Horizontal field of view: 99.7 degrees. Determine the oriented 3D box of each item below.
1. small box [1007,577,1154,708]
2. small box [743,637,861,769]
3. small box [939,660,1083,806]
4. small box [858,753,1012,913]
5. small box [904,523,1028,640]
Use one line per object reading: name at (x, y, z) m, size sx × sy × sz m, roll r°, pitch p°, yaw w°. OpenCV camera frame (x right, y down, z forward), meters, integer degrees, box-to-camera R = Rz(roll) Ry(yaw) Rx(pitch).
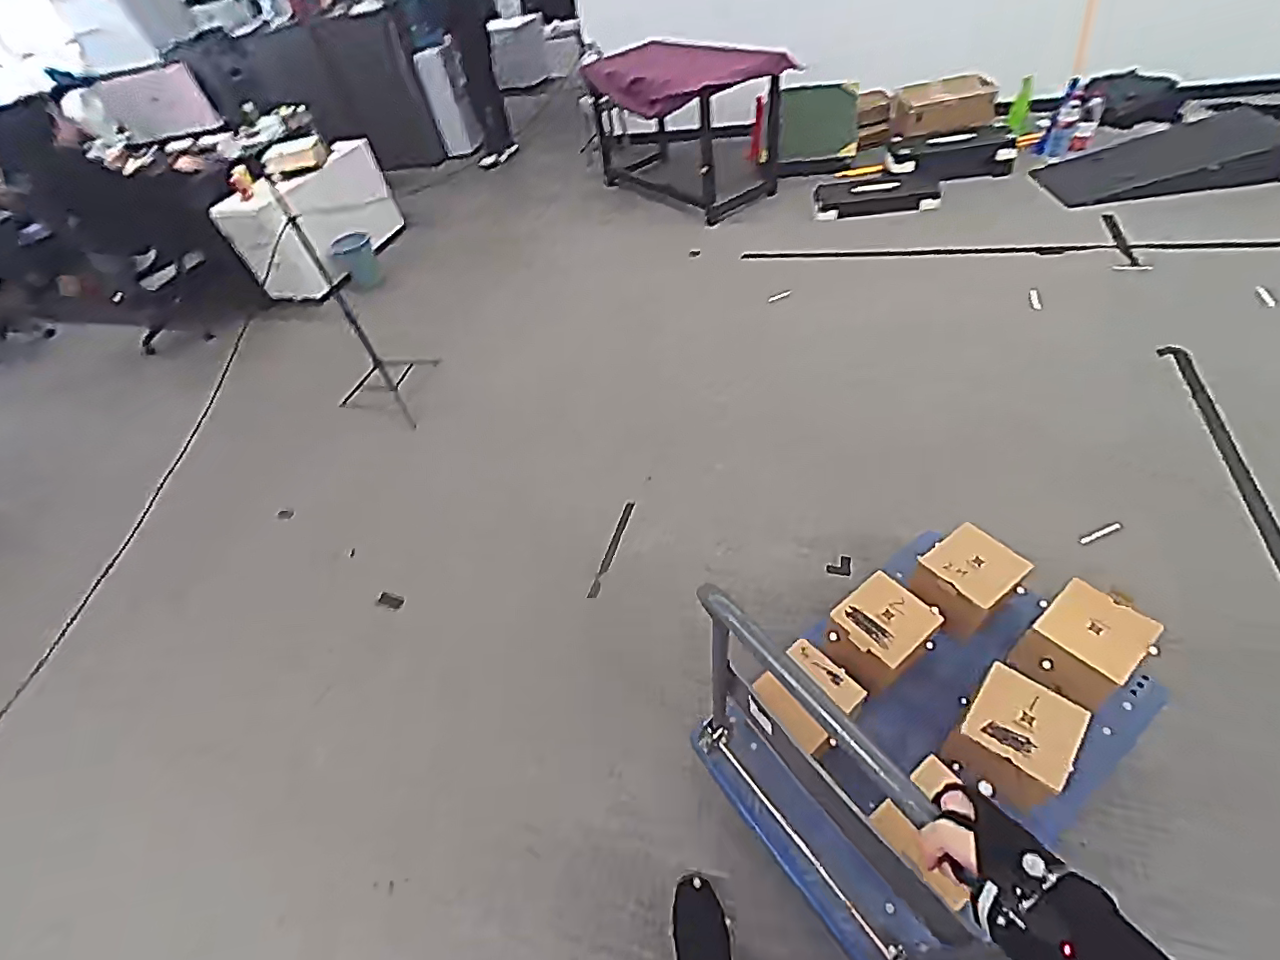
small box at (0.926, 0.351, 1.157) m, size 0.179 × 0.176 × 0.168 m, roll -35°, pitch 51°, yaw -19°
small box at (0.342, 0.481, 1.158) m, size 0.179 × 0.176 × 0.168 m, roll -36°, pitch 52°, yaw -19°
small box at (0.717, 0.501, 1.065) m, size 0.168 × 0.176 × 0.179 m, roll 30°, pitch 60°, yaw 32°
small box at (0.518, 0.642, 0.980) m, size 0.179 × 0.176 × 0.168 m, roll -32°, pitch 51°, yaw -18°
small box at (0.761, 0.242, 1.285) m, size 0.179 × 0.176 × 0.168 m, roll -32°, pitch 50°, yaw -16°
